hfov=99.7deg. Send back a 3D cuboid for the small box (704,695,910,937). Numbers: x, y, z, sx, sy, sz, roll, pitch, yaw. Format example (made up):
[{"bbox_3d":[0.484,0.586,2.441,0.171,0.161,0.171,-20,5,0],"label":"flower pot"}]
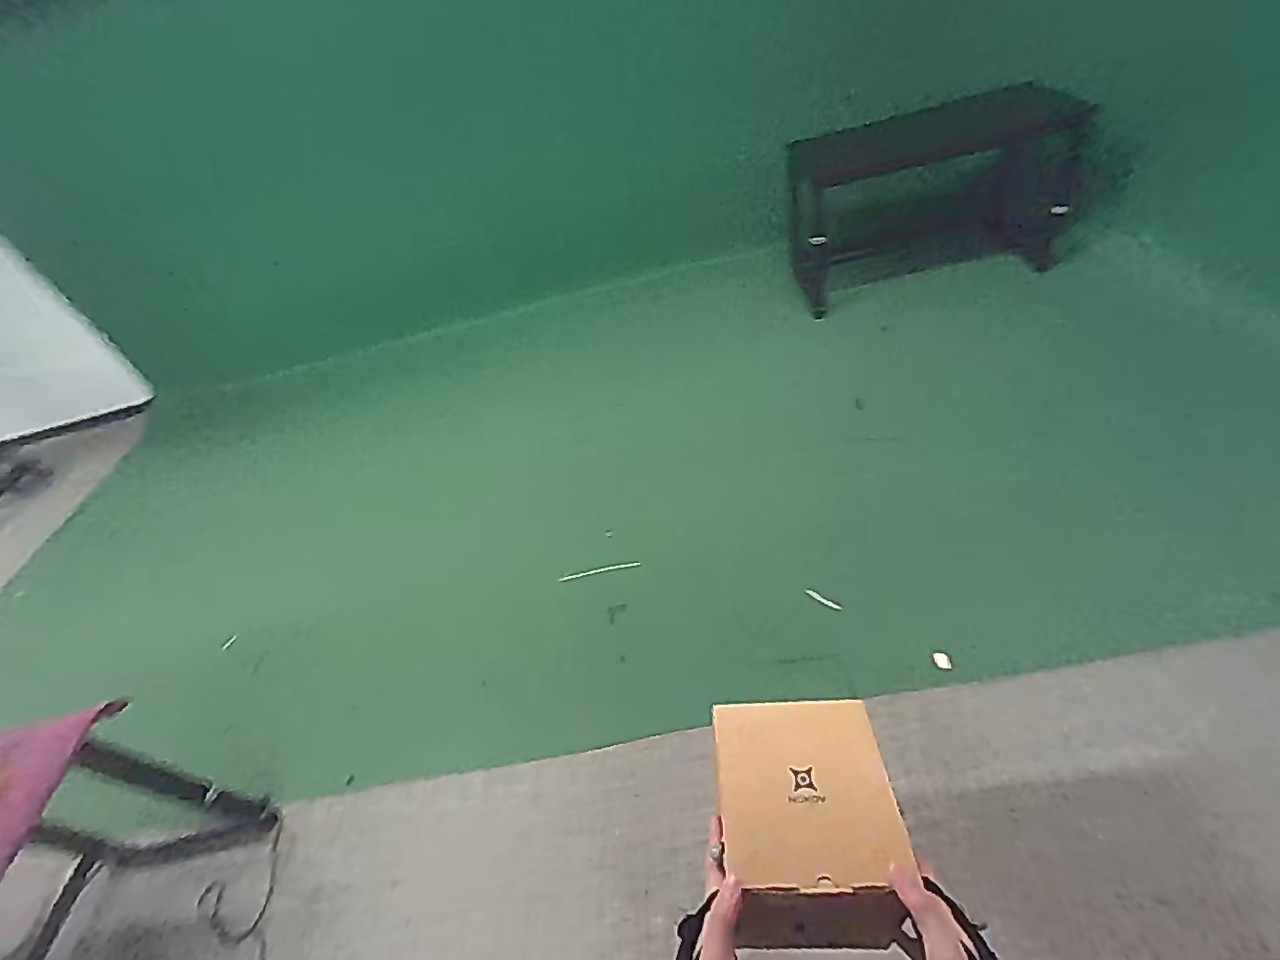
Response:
[{"bbox_3d":[0.157,0.357,0.580,0.168,0.176,0.179,-4,38,3],"label":"small box"}]
